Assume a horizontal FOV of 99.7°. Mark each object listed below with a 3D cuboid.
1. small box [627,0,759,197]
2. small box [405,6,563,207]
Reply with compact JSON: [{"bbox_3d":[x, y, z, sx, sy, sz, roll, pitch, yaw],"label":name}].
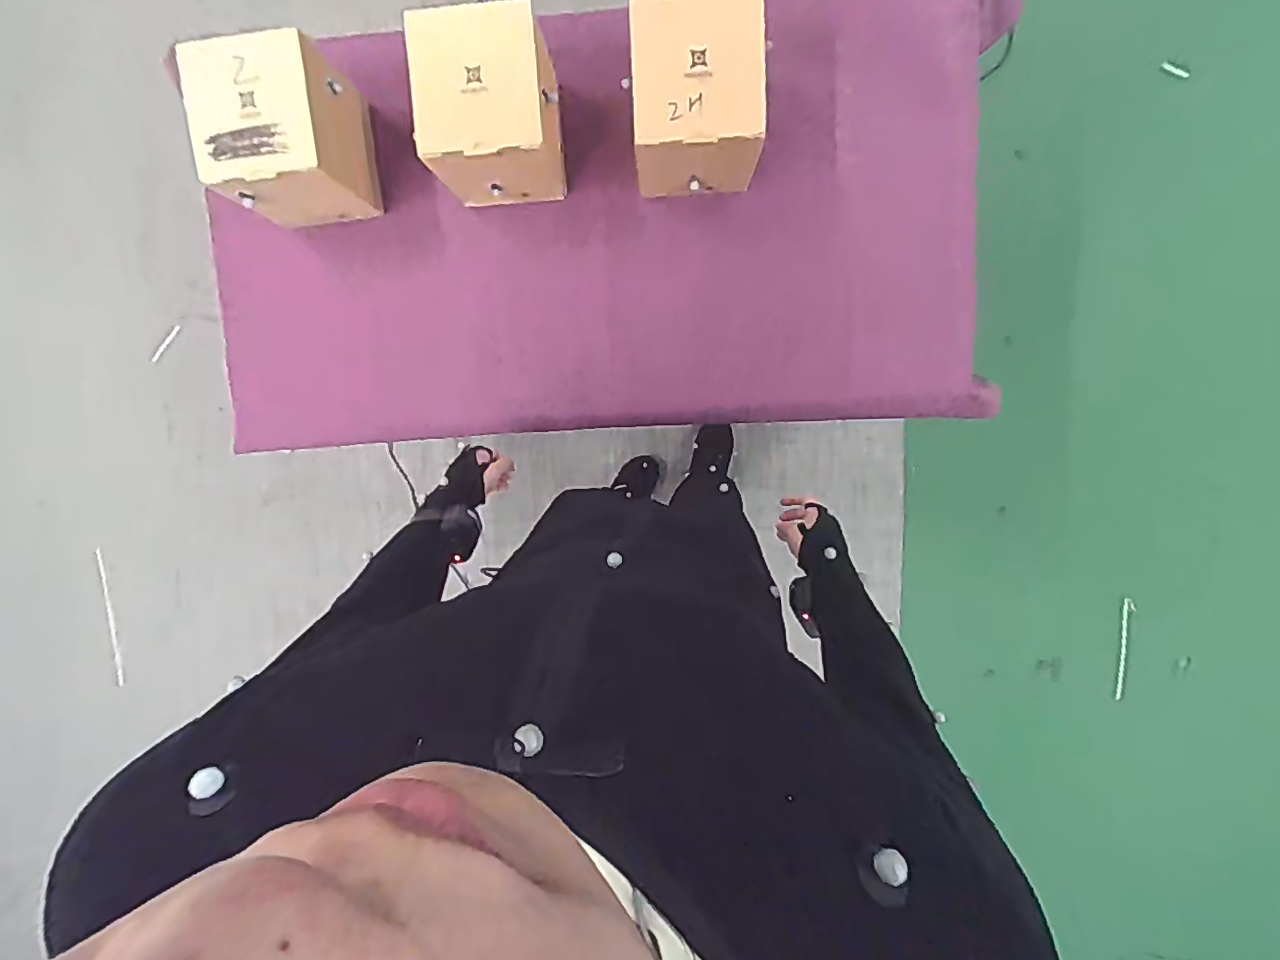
[{"bbox_3d":[0.070,-0.522,0.754,0.168,0.176,0.179,-2,97,4],"label":"small box"},{"bbox_3d":[-0.211,-0.518,0.773,0.168,0.176,0.179,-3,98,4],"label":"small box"}]
